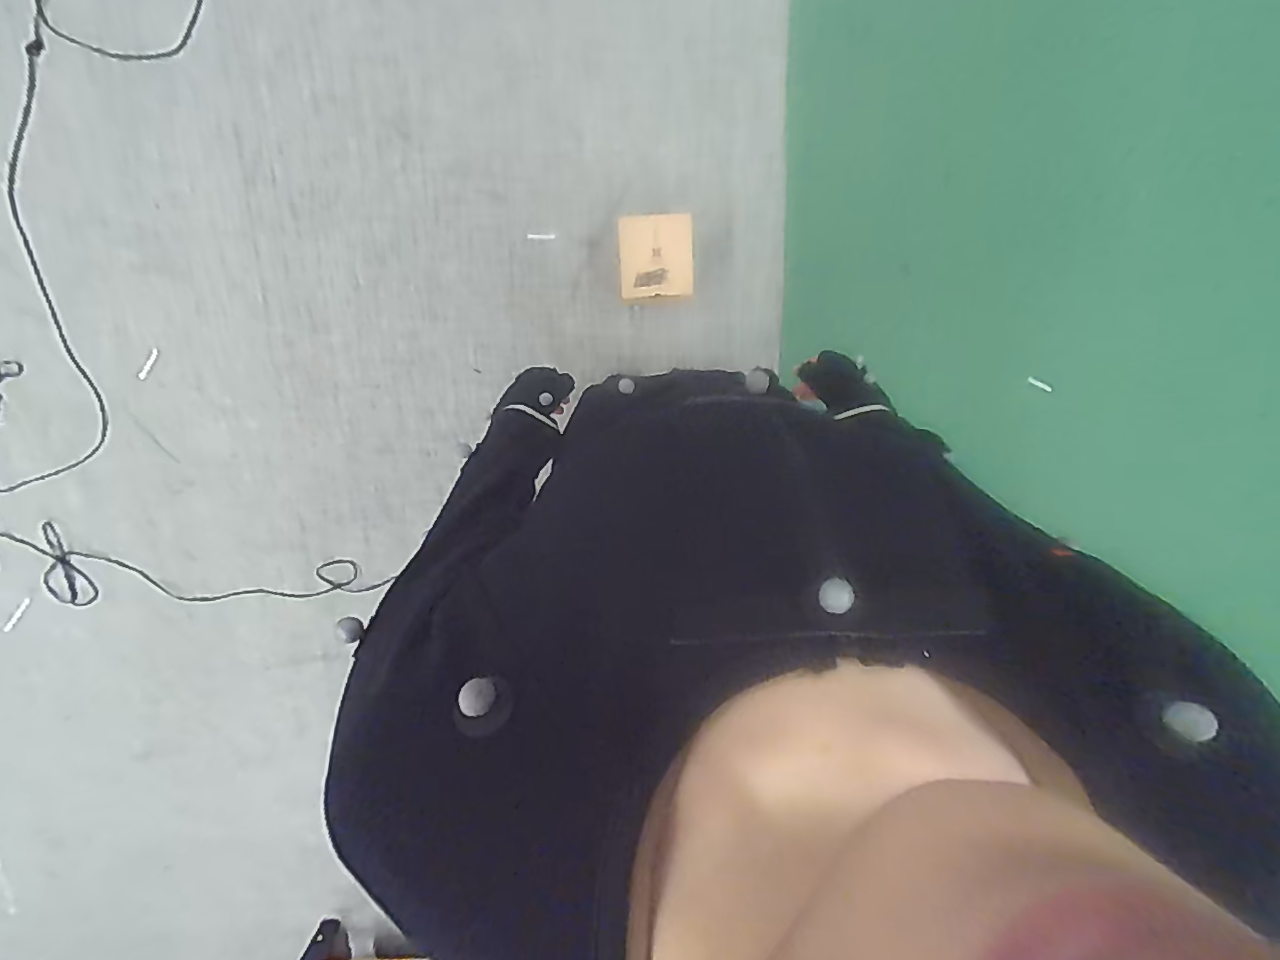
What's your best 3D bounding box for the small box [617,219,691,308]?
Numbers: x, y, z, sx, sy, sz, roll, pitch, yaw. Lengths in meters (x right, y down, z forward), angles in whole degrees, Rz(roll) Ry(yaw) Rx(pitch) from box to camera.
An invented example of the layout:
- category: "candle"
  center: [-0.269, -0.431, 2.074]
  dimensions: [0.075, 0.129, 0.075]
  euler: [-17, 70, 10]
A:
- category: "small box"
  center: [0.035, -0.510, 1.296]
  dimensions: [0.168, 0.176, 0.179]
  euler: [-3, 102, 1]
